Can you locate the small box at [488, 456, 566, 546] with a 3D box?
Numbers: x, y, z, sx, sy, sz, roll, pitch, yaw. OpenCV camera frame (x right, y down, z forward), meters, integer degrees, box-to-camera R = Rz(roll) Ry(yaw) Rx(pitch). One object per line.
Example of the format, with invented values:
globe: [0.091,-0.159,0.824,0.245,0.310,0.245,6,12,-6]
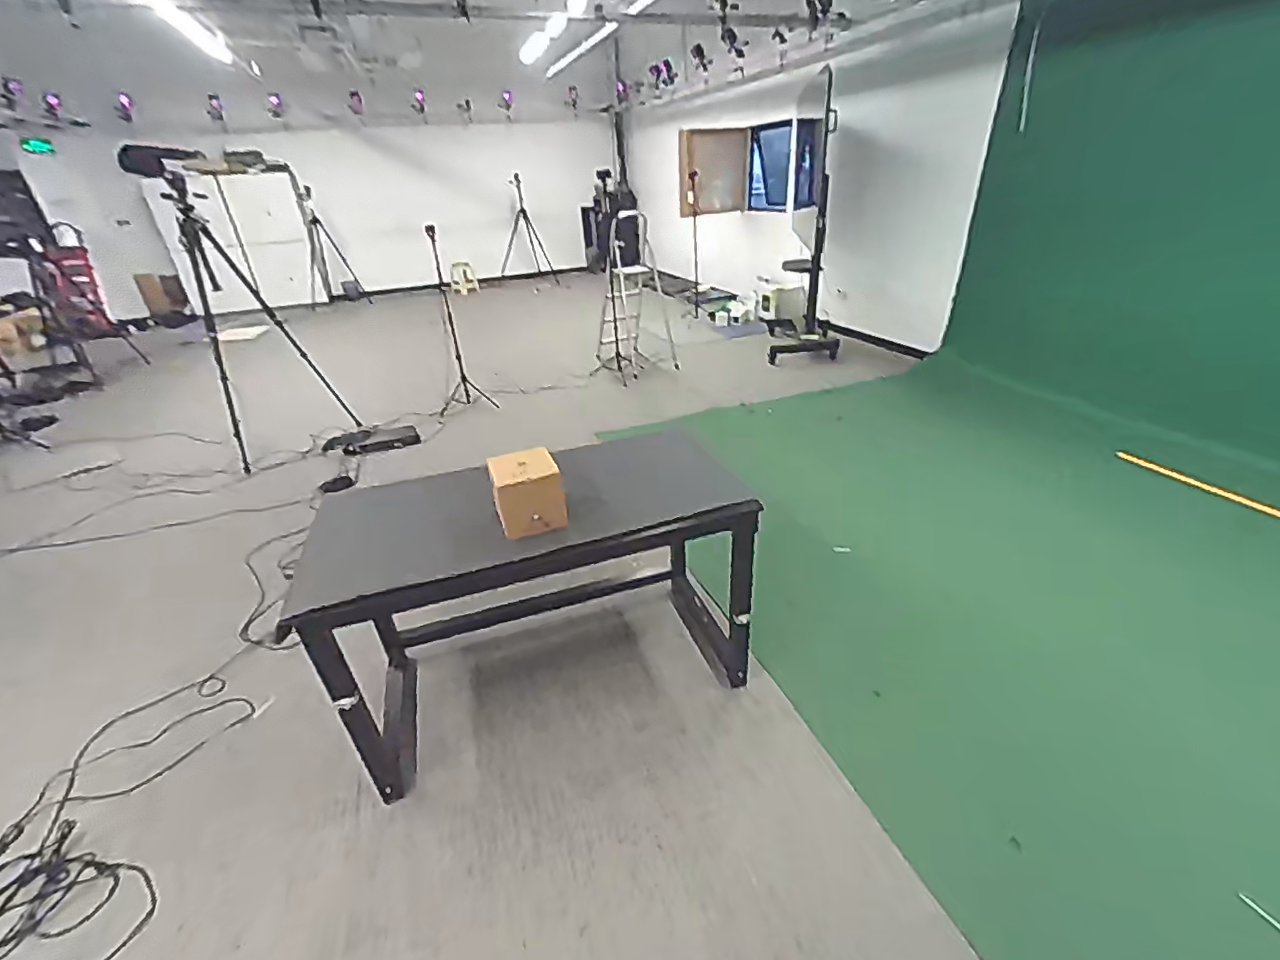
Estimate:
small box: [-0.306,0.056,1.467,0.168,0.176,0.179,-14,29,-18]
